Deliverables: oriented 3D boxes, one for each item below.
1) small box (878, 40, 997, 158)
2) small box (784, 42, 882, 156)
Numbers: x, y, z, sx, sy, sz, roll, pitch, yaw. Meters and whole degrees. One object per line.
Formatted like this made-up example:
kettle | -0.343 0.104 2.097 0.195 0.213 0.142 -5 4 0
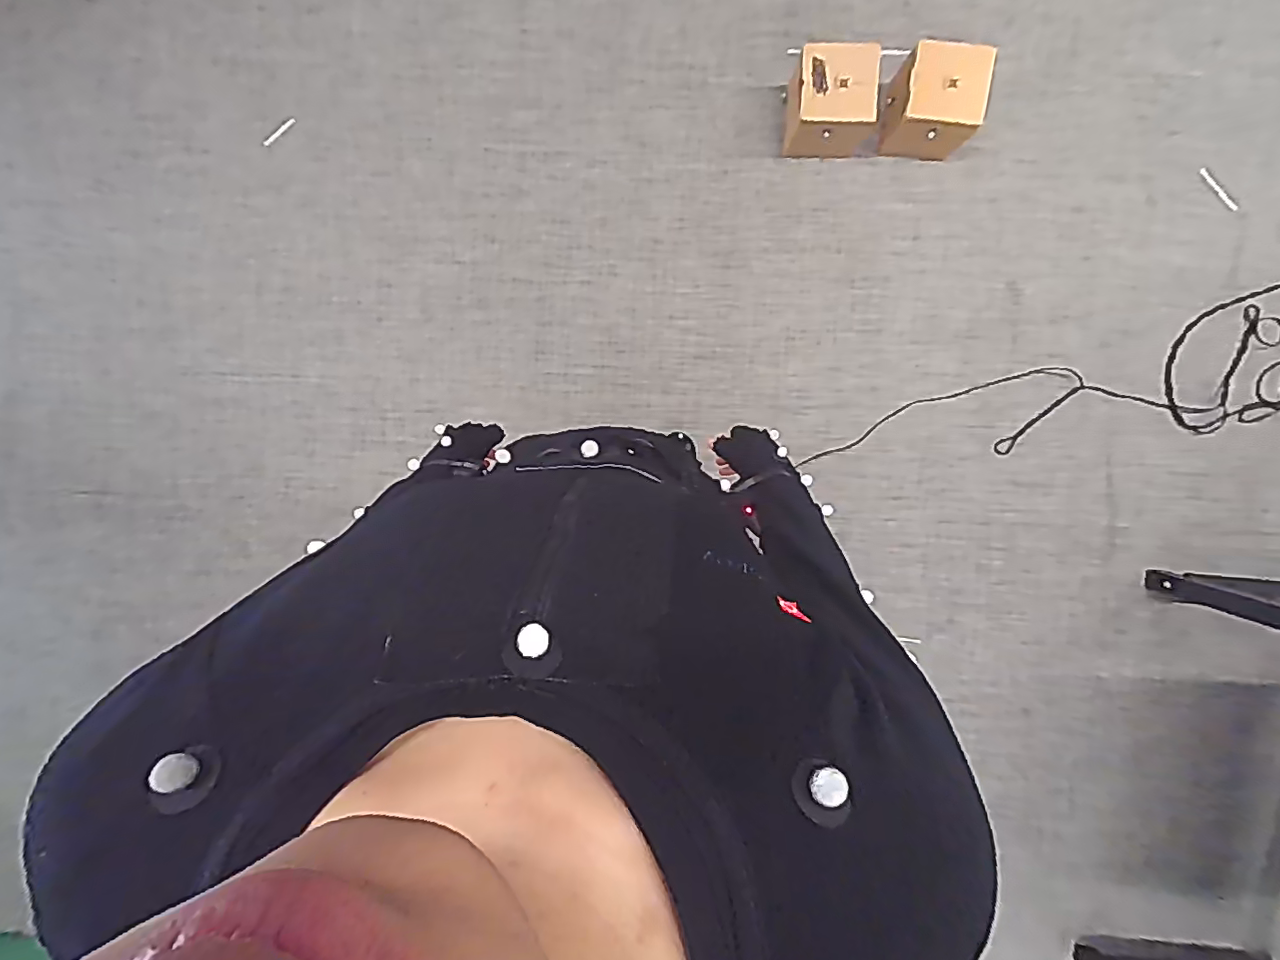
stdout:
small box | 0.695 -0.892 1.282 0.179 0.176 0.168 7 96 2
small box | 0.450 -0.897 1.288 0.179 0.176 0.168 2 96 1
